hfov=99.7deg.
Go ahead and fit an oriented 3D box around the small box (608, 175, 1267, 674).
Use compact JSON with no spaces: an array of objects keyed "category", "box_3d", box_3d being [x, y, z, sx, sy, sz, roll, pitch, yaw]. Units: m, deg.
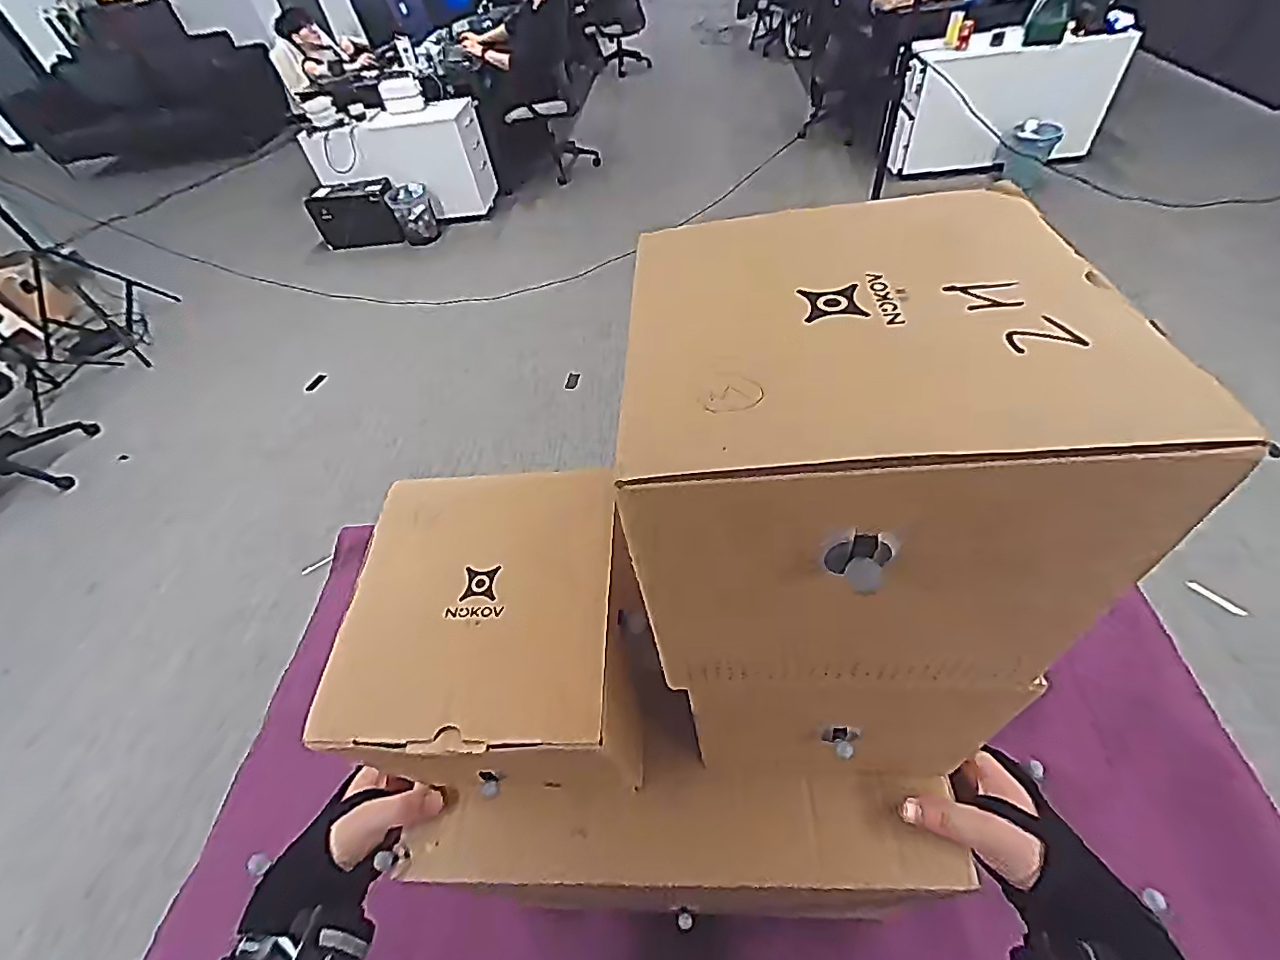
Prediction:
[{"category":"small box","box_3d":[0.092,-0.017,0.260,0.179,0.176,0.168,-3,49,8]}]
